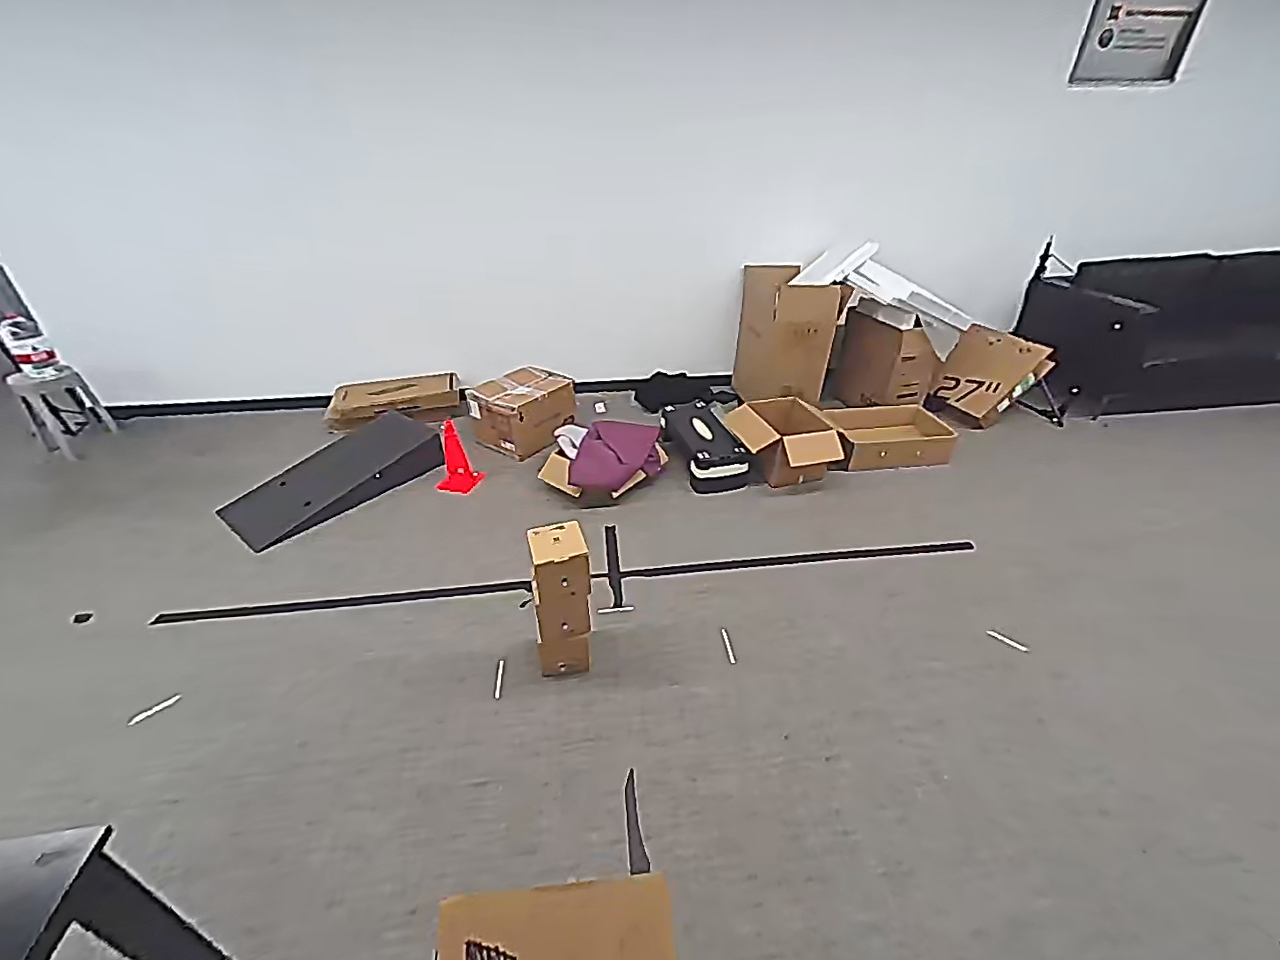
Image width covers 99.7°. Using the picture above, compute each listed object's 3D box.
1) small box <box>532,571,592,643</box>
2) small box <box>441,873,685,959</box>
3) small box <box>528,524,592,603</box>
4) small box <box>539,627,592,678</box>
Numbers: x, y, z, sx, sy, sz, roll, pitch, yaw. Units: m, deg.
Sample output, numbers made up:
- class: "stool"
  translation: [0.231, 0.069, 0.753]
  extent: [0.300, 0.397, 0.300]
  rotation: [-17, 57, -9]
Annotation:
- class: "small box"
  translation: [-0.259, 0.405, 1.788]
  extent: [0.168, 0.176, 0.179]
  rotation: [-10, 33, -11]
- class: "small box"
  translation: [-0.052, 0.424, 0.414]
  extent: [0.179, 0.176, 0.168]
  rotation: [-3, 45, -5]
- class: "small box"
  translation: [-0.250, 0.268, 1.698]
  extent: [0.168, 0.176, 0.179]
  rotation: [-11, 34, -13]
- class: "small box"
  translation: [-0.257, 0.552, 1.865]
  extent: [0.168, 0.176, 0.179]
  rotation: [-7, 34, -8]
